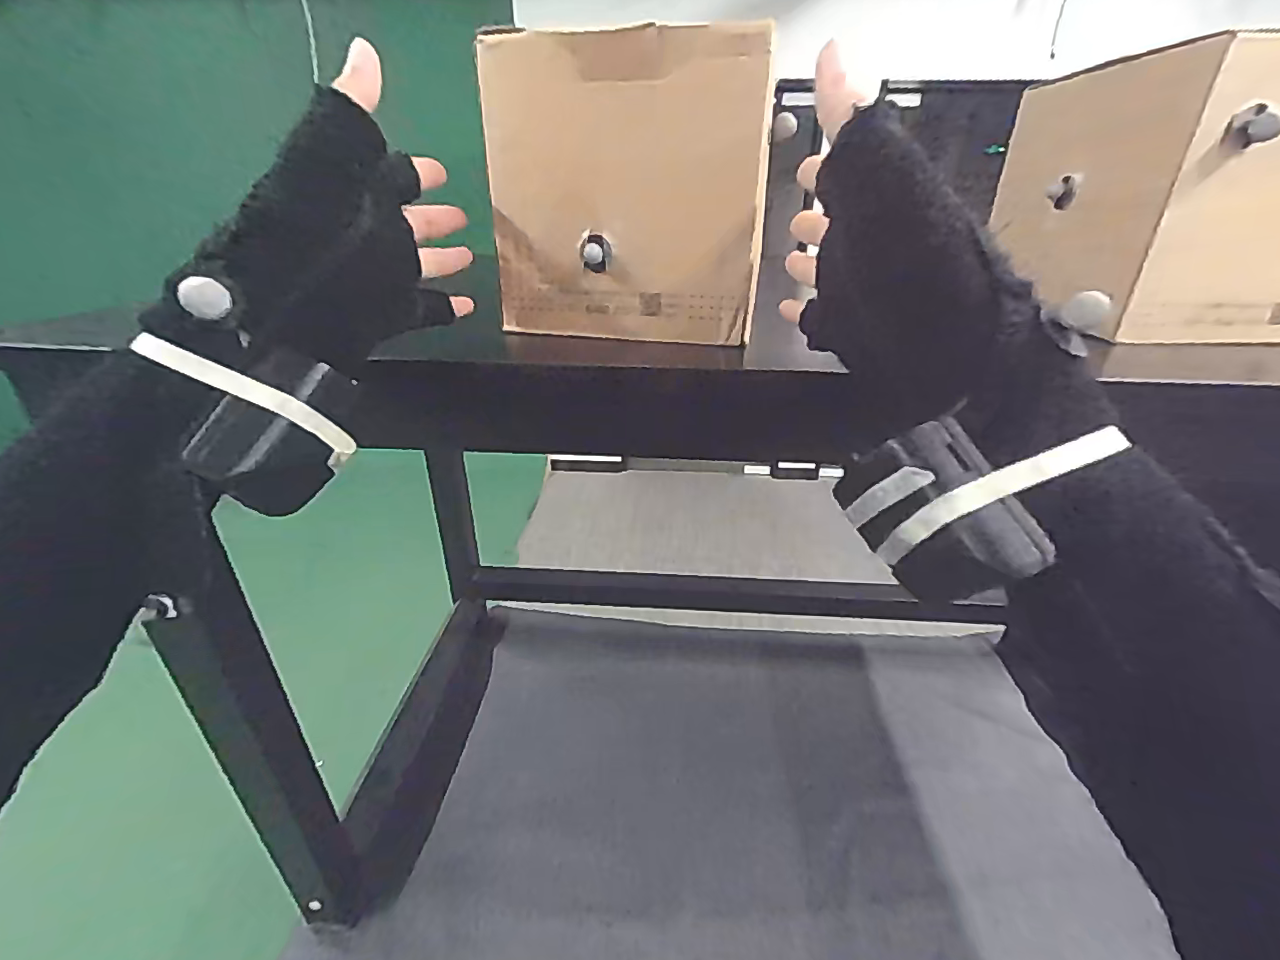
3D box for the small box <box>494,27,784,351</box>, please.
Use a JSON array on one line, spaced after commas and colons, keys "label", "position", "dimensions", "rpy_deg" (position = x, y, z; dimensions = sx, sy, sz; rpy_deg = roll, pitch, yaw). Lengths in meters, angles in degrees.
[{"label": "small box", "position": [0.010, -0.202, 0.398], "dimensions": [0.168, 0.176, 0.179], "rpy_deg": [6, 27, 10]}]
